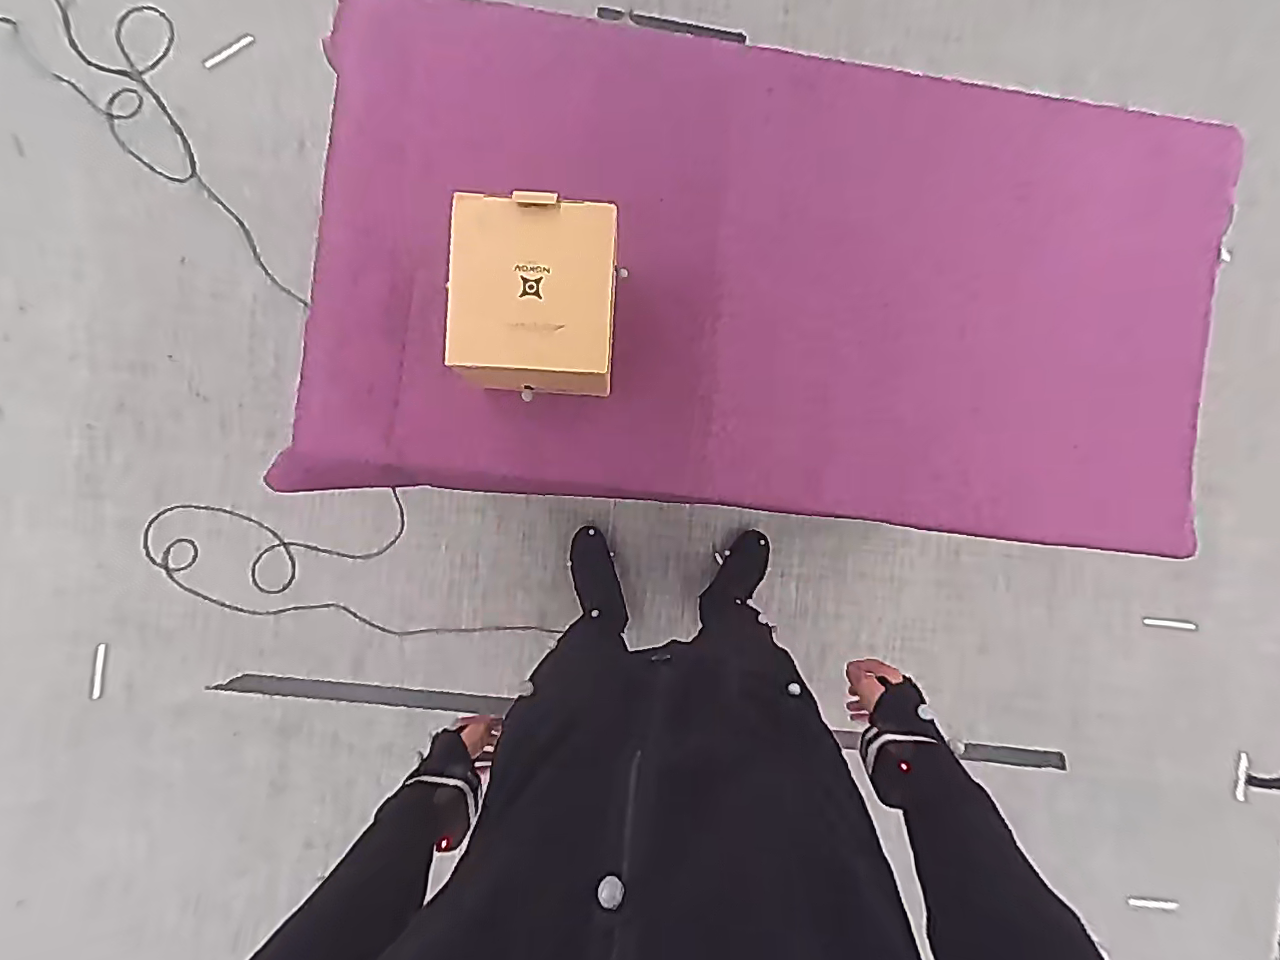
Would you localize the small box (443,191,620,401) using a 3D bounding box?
[{"bbox_3d":[-0.112,-0.195,0.619,0.168,0.176,0.179,4,90,-3],"label":"small box"}]
